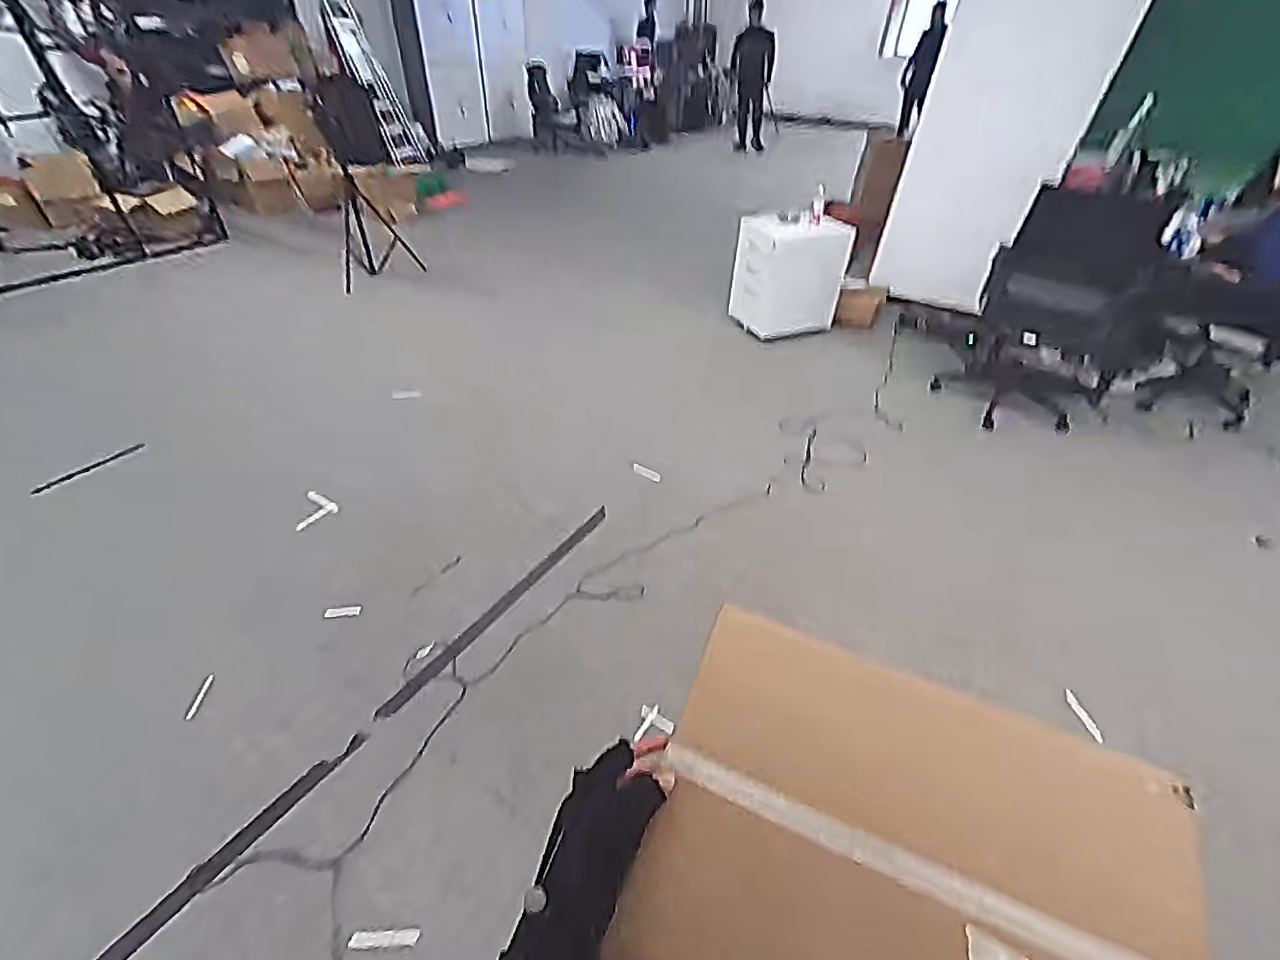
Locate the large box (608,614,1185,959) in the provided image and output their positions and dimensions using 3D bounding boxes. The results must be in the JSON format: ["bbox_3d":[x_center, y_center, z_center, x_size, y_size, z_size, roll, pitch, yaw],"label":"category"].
[{"bbox_3d":[0.217,0.401,0.561,0.408,0.320,0.320,18,55,16],"label":"large box"}]
